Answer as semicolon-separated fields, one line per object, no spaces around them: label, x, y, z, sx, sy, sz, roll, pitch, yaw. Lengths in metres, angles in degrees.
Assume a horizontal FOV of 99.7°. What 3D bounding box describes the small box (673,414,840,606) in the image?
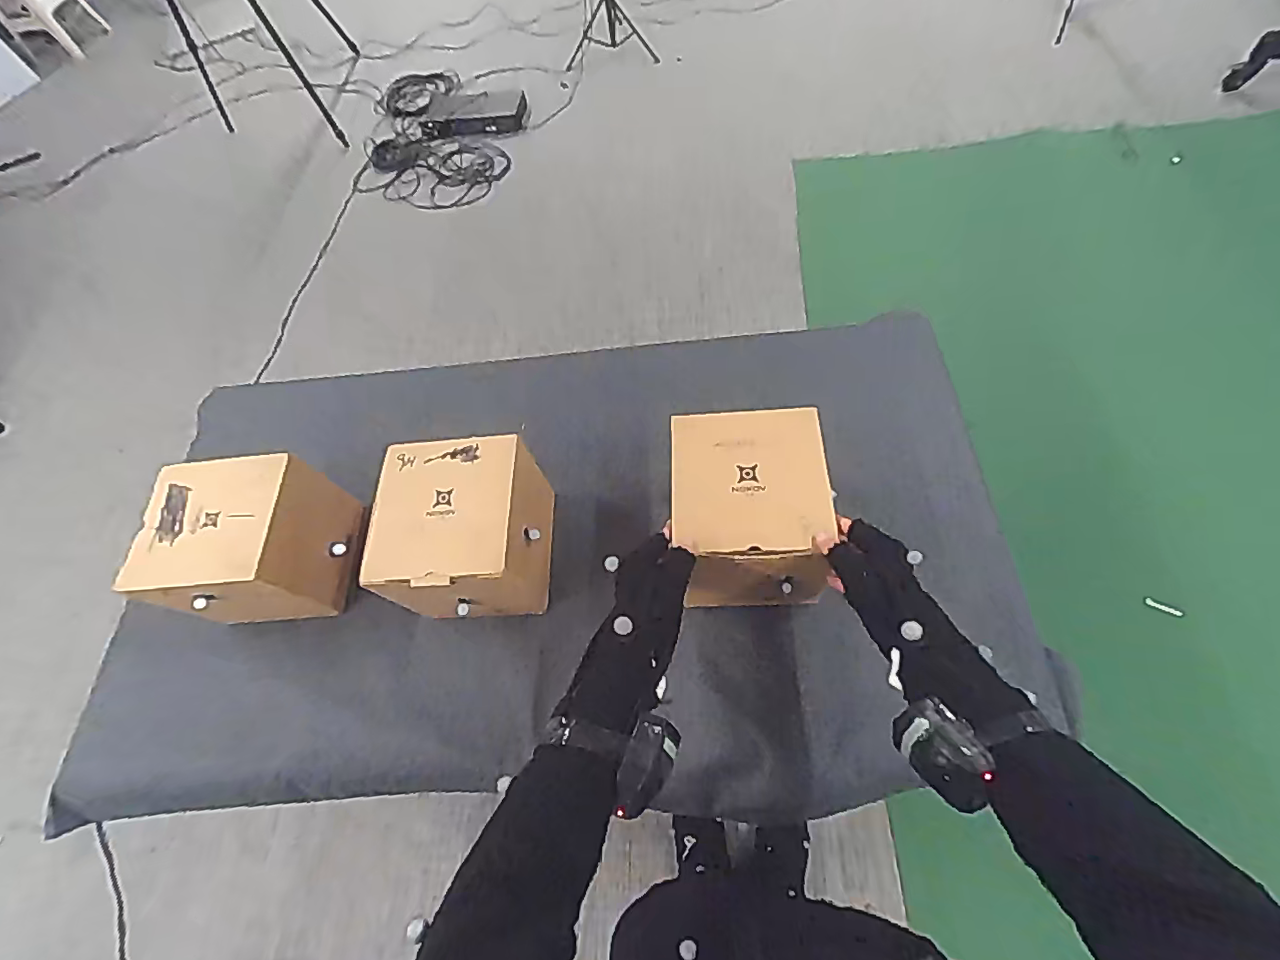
small box;0.128;0.045;0.644;0.168;0.176;0.179;-3;57;6

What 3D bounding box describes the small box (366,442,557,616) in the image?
small box;-0.208;0.072;0.687;0.168;0.176;0.179;-4;63;6

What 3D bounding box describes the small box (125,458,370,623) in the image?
small box;-0.499;0.088;0.719;0.179;0.176;0.168;-5;63;4
